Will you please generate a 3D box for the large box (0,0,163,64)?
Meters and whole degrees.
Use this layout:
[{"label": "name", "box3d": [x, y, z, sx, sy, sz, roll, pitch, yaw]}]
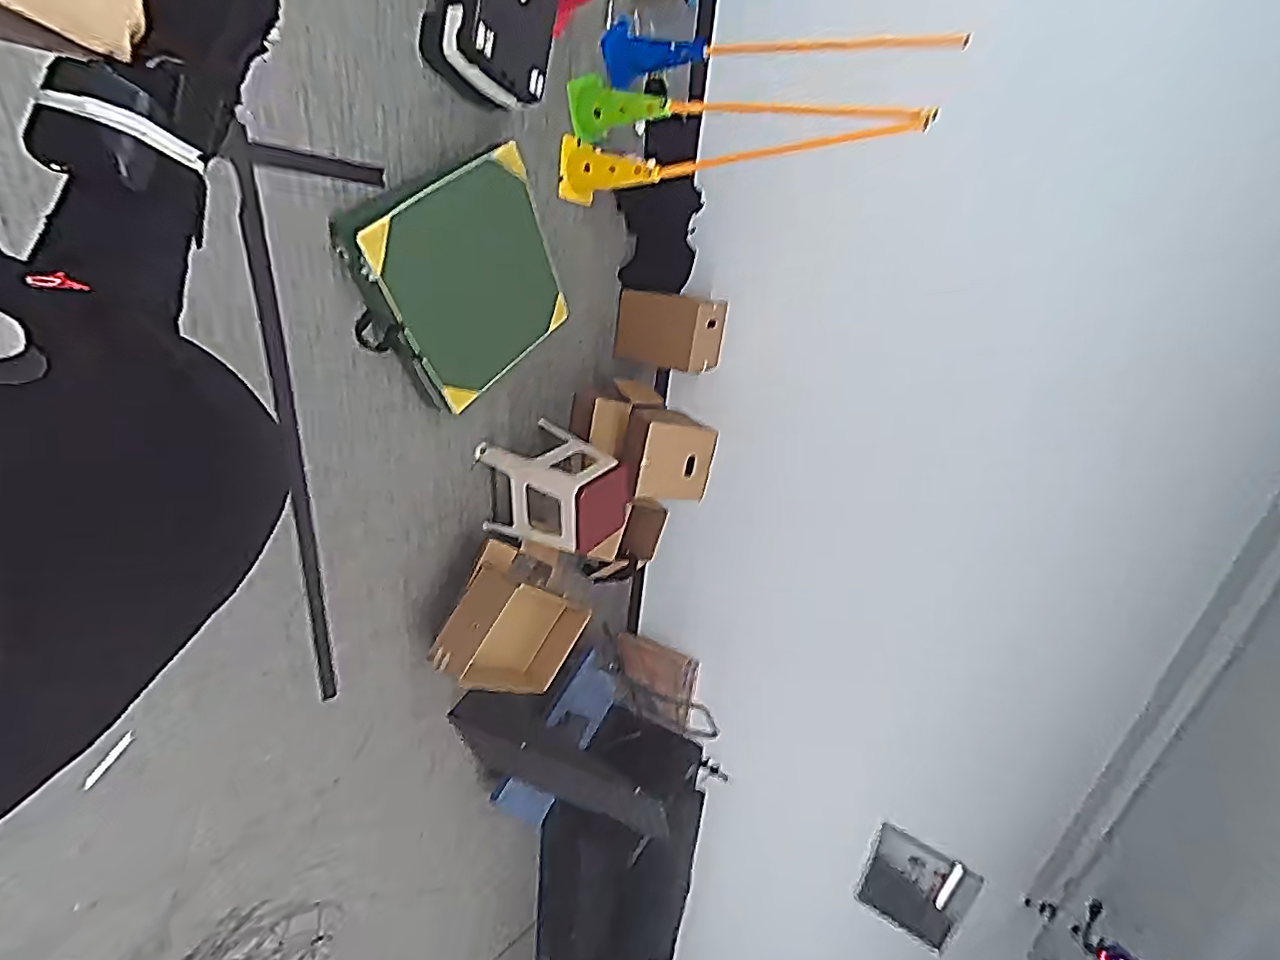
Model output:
[{"label": "large box", "box3d": [-0.500, -0.478, 0.226, 0.408, 0.320, 0.320, -4, 118, -65]}]
